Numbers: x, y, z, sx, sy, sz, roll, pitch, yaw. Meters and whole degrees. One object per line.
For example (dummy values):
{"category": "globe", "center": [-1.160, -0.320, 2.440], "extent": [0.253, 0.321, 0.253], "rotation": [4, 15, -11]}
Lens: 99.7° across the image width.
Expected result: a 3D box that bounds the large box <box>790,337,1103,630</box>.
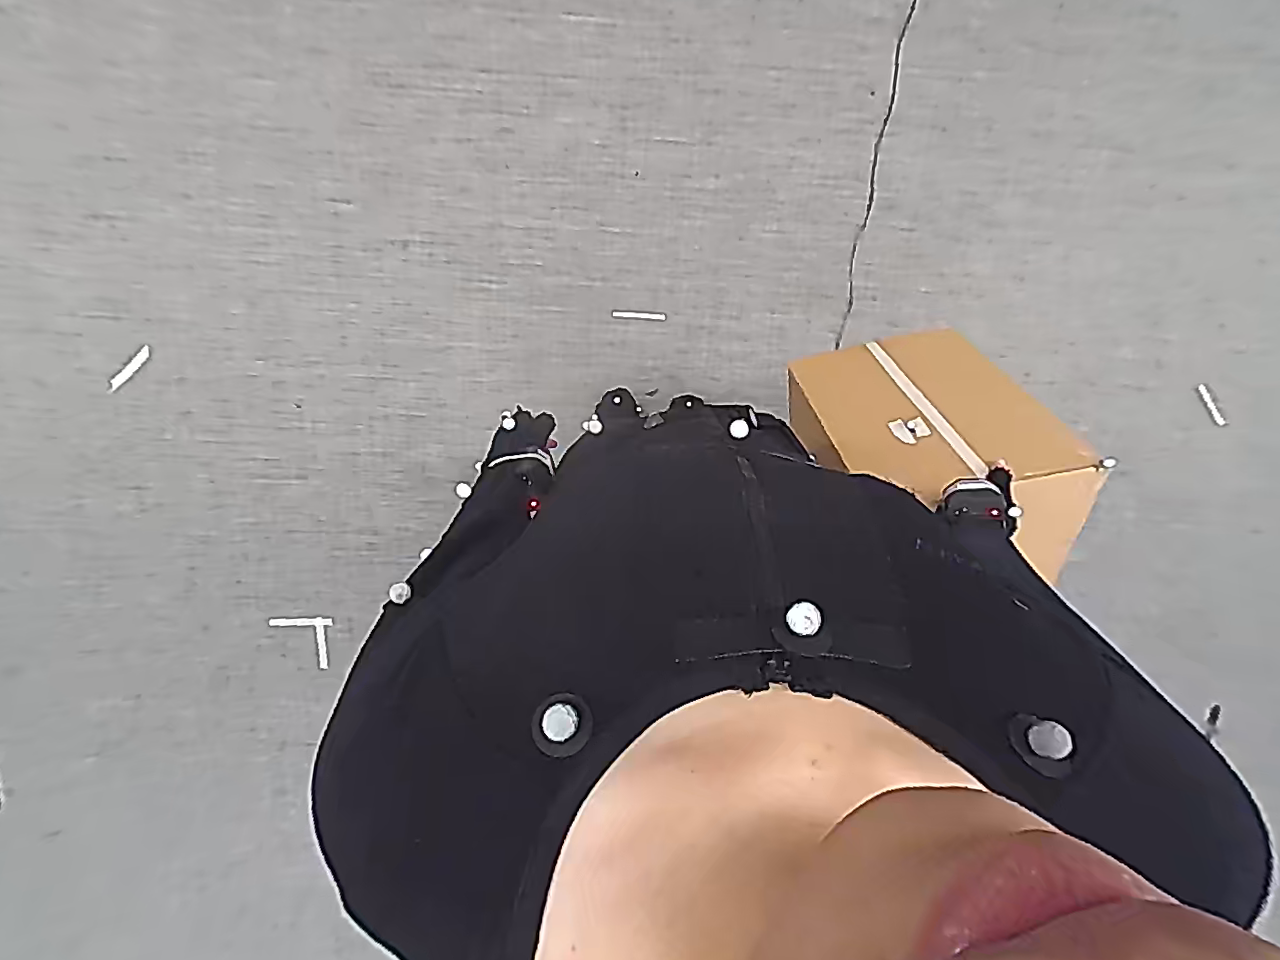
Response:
{"category": "large box", "center": [0.481, -0.003, 0.978], "extent": [0.320, 0.408, 0.320], "rotation": [-12, 132, 4]}
